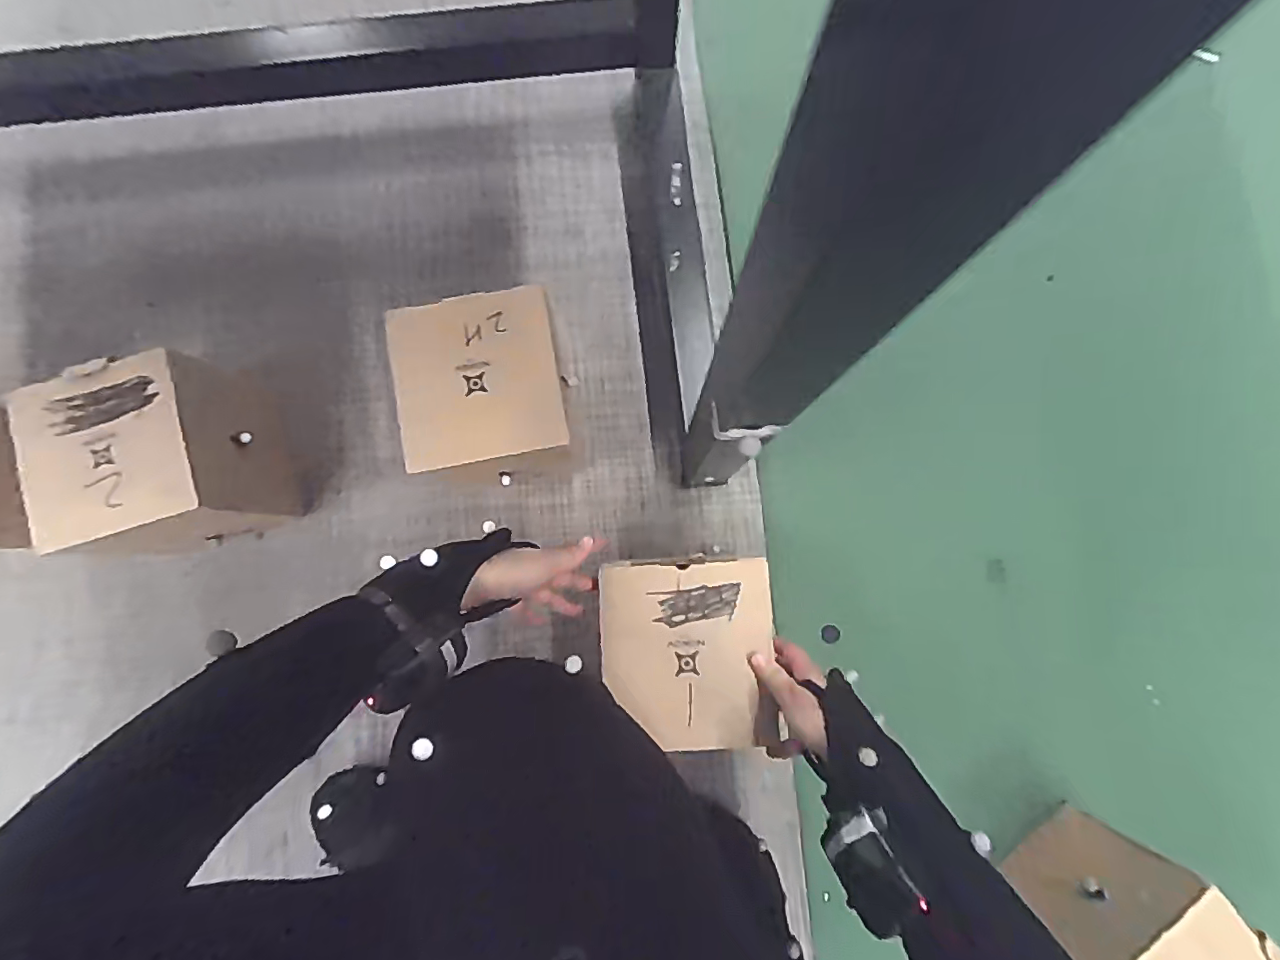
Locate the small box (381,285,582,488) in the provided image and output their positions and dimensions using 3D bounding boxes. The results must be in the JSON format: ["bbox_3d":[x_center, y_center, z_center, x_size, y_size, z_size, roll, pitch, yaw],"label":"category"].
[{"bbox_3d":[-0.166,-0.090,0.616,0.168,0.176,0.179,-11,83,-2],"label":"small box"}]

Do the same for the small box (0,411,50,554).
[{"bbox_3d":[-0.840,-0.001,0.612,0.168,0.176,0.179,-2,82,0],"label":"small box"}]

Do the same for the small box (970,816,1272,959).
[{"bbox_3d":[0.485,0.487,0.538,0.179,0.176,0.168,-38,84,-5],"label":"small box"}]
